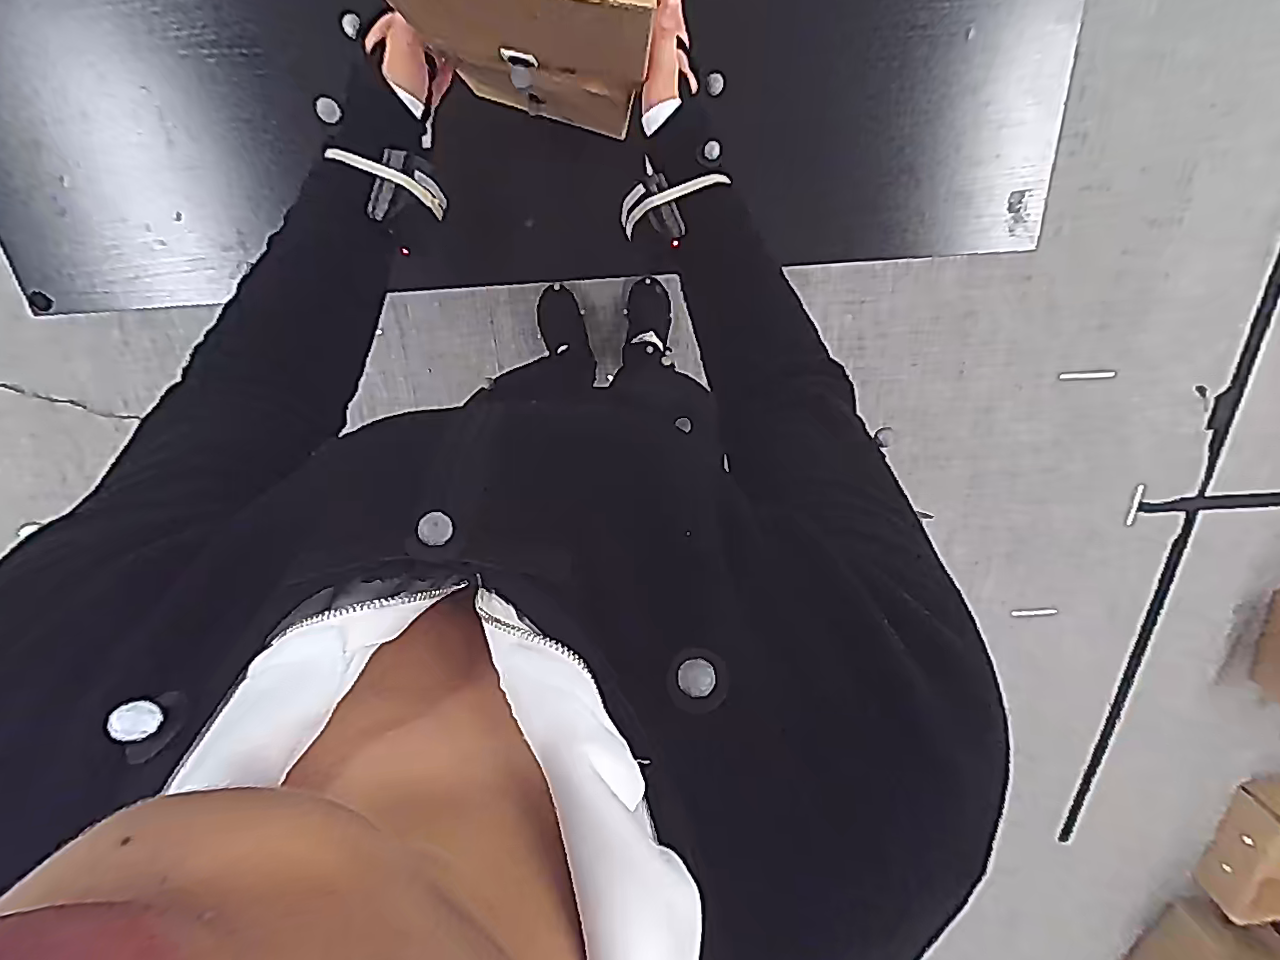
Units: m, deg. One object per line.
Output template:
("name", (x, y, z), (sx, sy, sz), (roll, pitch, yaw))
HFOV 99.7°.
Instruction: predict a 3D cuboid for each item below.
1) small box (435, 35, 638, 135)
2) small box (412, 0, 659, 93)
("small box", (-0.071, -0.444, 0.493), (0.168, 0.176, 0.179), (12, 111, -8))
("small box", (-0.064, -0.380, 0.342), (0.168, 0.176, 0.179), (6, 113, -4))
